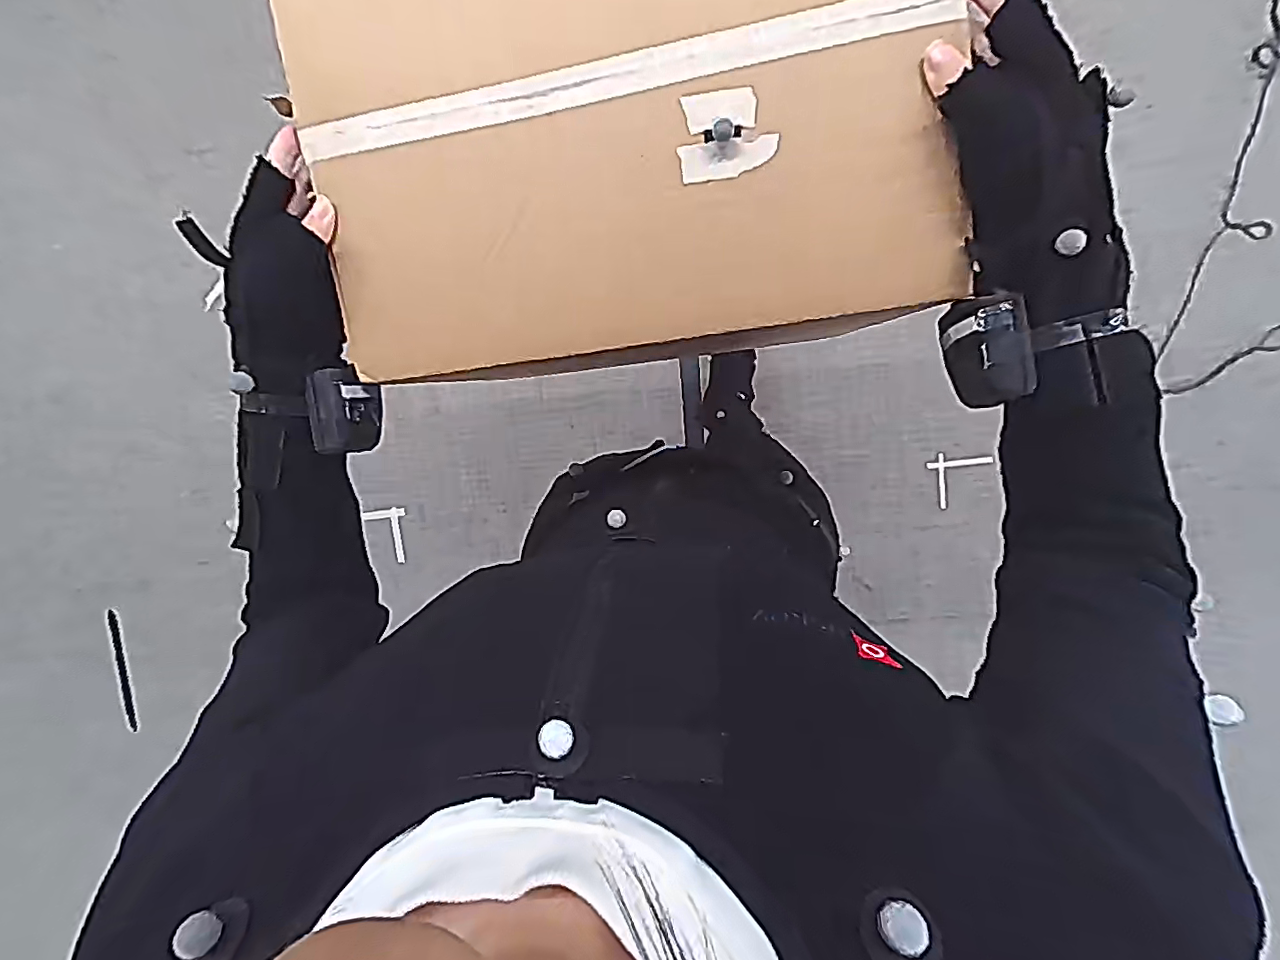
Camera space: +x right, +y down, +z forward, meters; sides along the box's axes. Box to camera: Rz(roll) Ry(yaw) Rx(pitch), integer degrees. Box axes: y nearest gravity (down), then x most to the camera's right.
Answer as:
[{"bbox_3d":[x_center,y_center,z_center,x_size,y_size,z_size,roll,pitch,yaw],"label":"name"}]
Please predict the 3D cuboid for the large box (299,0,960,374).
[{"bbox_3d":[-0.001,-0.279,0.486,0.408,0.320,0.320,-7,101,7],"label":"large box"}]
